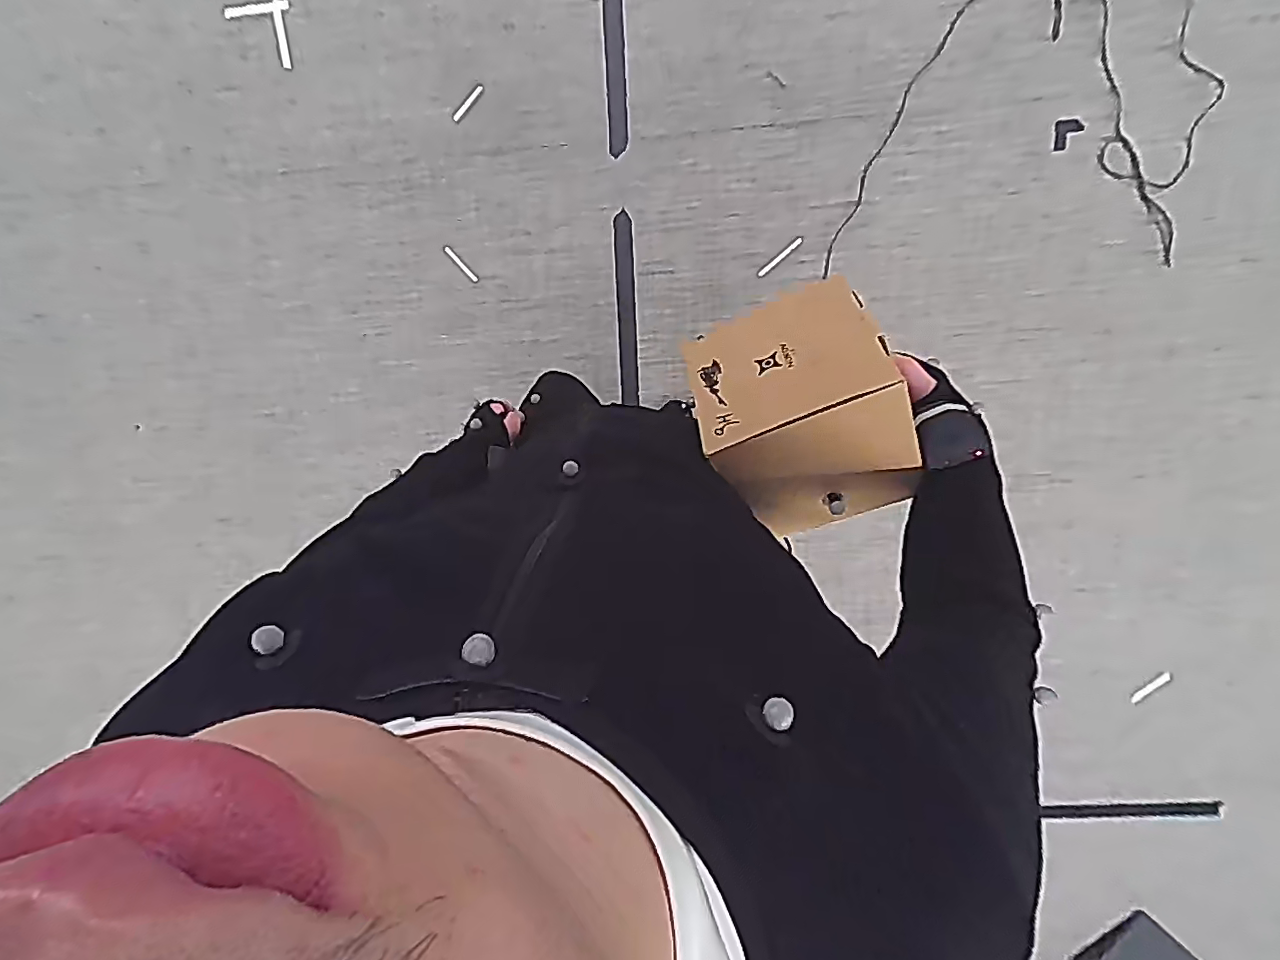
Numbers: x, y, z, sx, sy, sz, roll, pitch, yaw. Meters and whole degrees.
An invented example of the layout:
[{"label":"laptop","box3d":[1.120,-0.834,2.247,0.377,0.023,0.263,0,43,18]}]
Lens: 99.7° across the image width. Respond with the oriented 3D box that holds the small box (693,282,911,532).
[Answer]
[{"label":"small box","box3d":[0.175,-0.070,0.583,0.179,0.168,0.176,-21,136,19]}]
